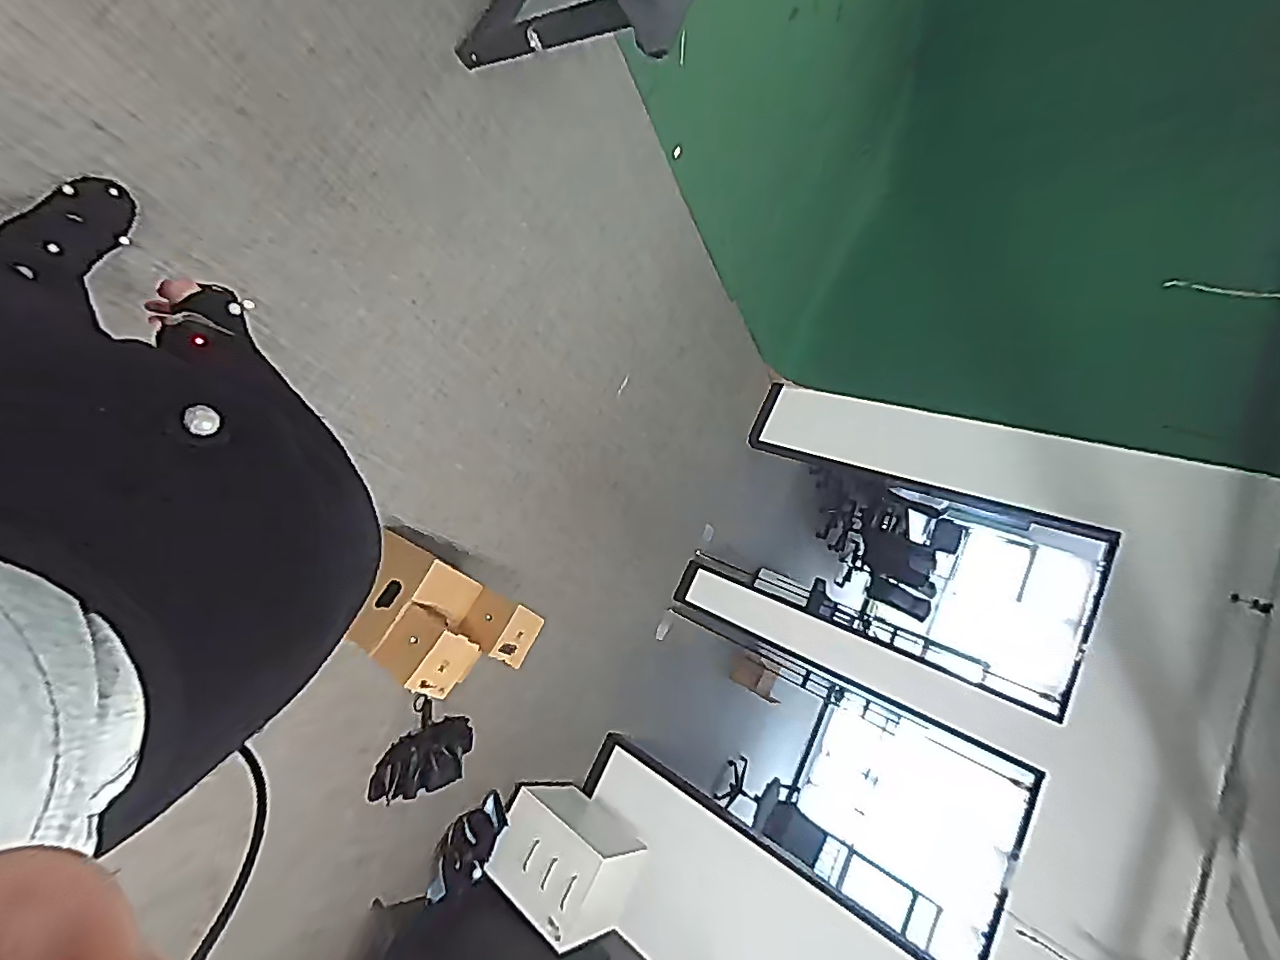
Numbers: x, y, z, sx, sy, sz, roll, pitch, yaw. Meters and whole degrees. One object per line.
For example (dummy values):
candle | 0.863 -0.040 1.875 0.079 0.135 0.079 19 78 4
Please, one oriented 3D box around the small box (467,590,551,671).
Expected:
small box | -0.428 0.484 1.749 0.179 0.176 0.168 -62 146 -20

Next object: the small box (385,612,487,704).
small box | -0.579 0.500 1.534 0.179 0.176 0.168 -59 145 -18
